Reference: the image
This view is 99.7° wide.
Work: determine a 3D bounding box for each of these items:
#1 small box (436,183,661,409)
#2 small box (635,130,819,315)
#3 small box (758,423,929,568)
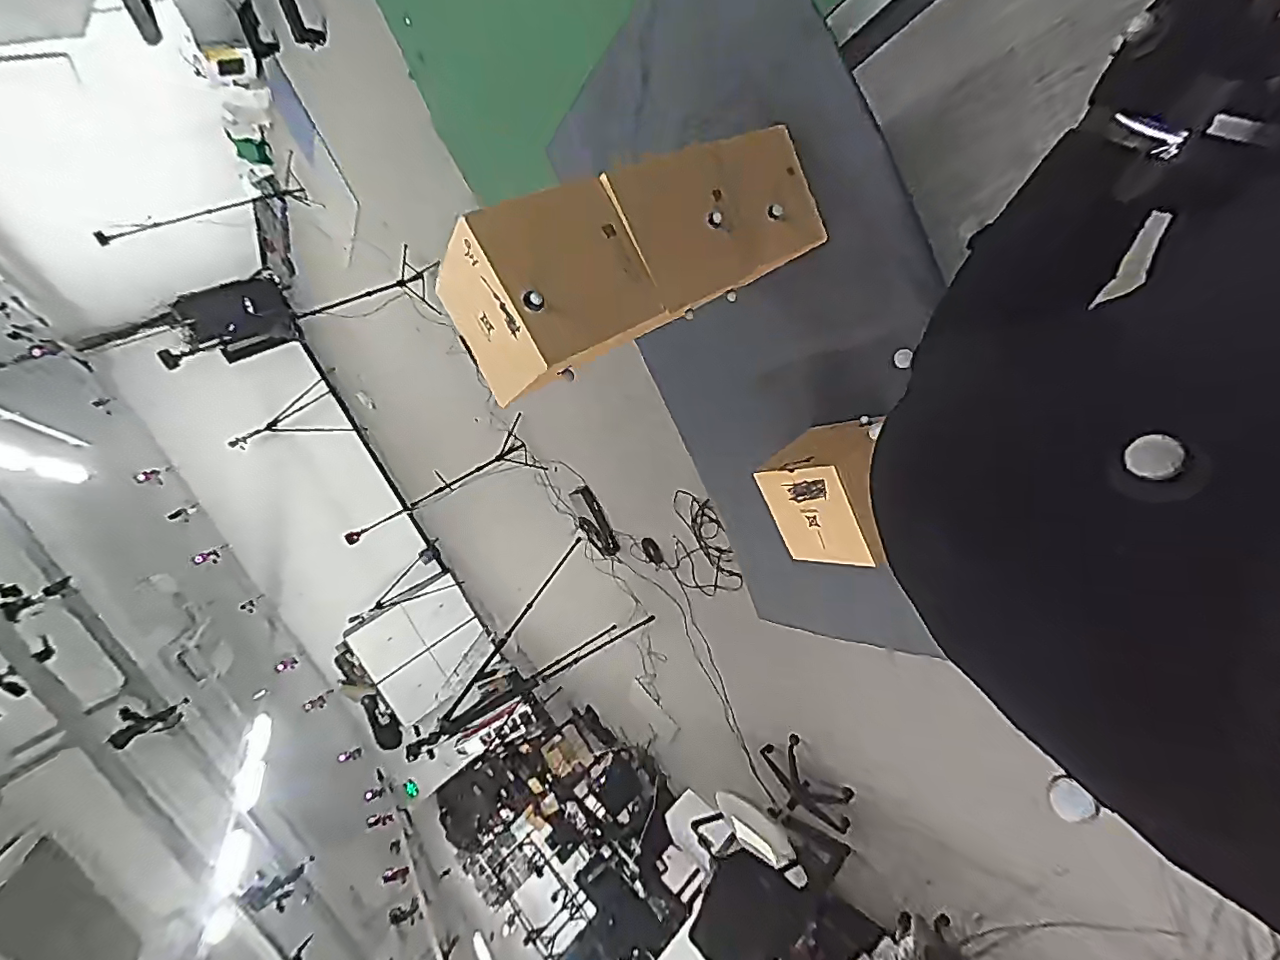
[{"bbox_3d":[-0.106,-0.205,0.624,0.168,0.176,0.179,60,152,-9],"label":"small box"},{"bbox_3d":[0.131,-0.368,0.782,0.179,0.176,0.168,-6,114,59],"label":"small box"},{"bbox_3d":[0.330,0.019,0.876,0.168,0.176,0.179,-5,115,58],"label":"small box"}]
